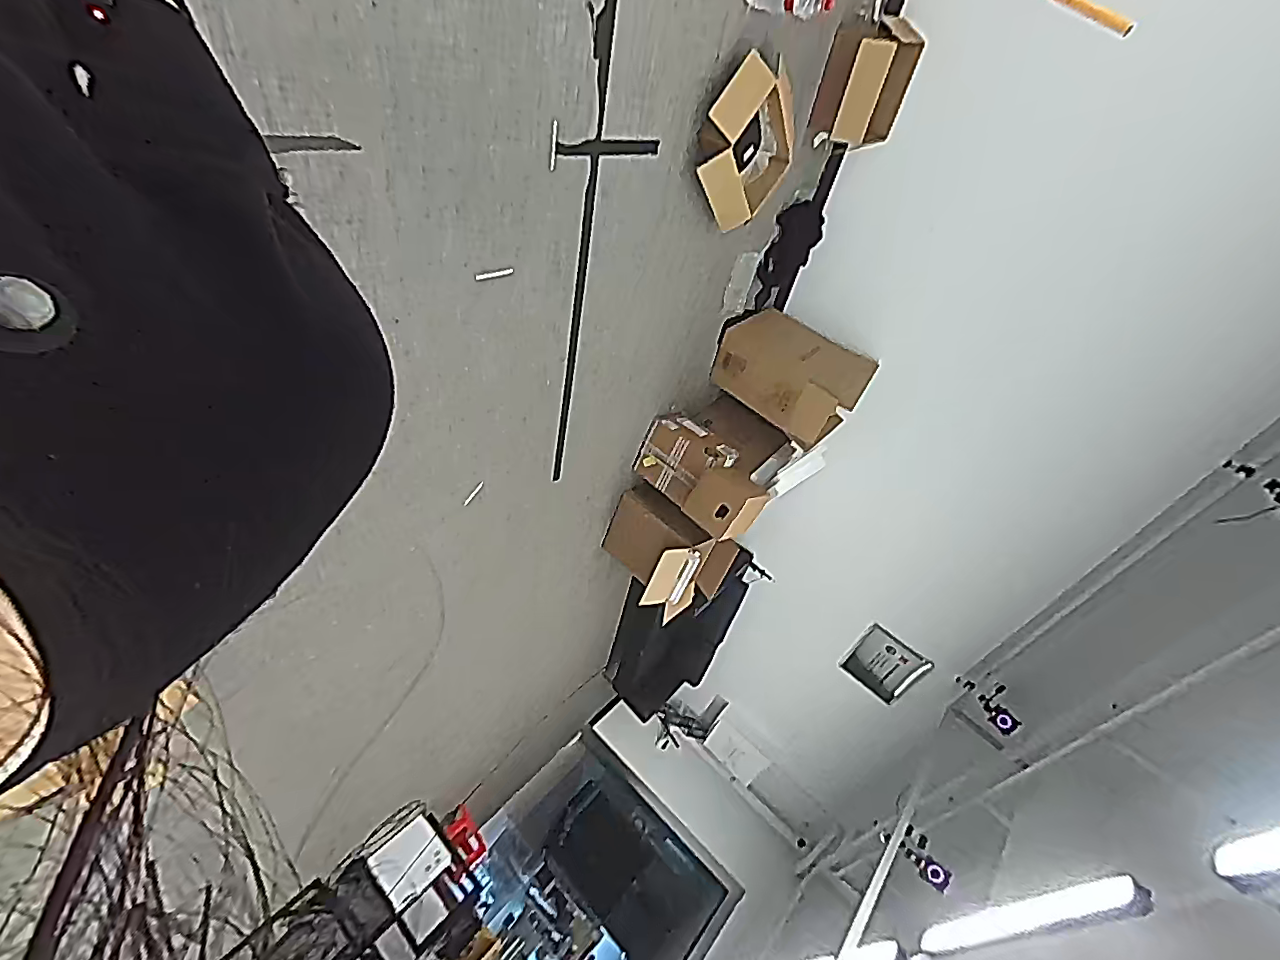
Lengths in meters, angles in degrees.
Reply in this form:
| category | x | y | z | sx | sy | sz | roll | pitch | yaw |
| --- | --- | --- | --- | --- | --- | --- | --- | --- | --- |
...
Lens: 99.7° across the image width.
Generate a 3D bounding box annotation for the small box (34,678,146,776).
| category | x | y | z | sx | sy | sz | roll | pitch | yaw |
| --- | --- | --- | --- | --- | --- | --- | --- | --- | --- |
| small box | -1.599 | 0.709 | 1.573 | 0.168 | 0.176 | 0.179 | -29 | 148 | -41 |
